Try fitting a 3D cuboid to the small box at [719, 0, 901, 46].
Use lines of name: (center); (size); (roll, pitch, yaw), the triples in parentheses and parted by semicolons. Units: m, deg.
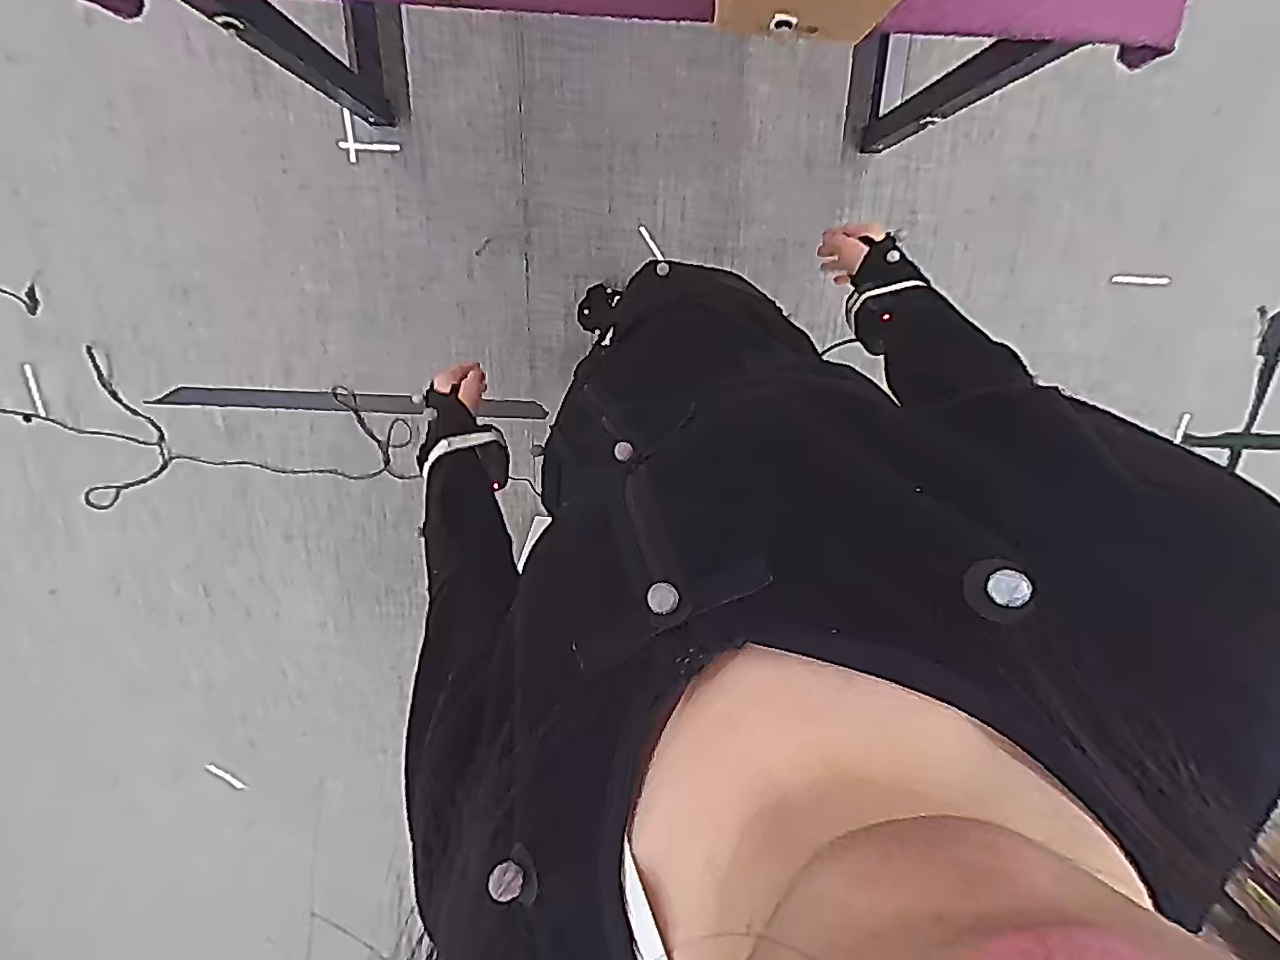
small box: (0.171, -0.541, 0.493); (0.168, 0.176, 0.179); (2, 111, -2)
